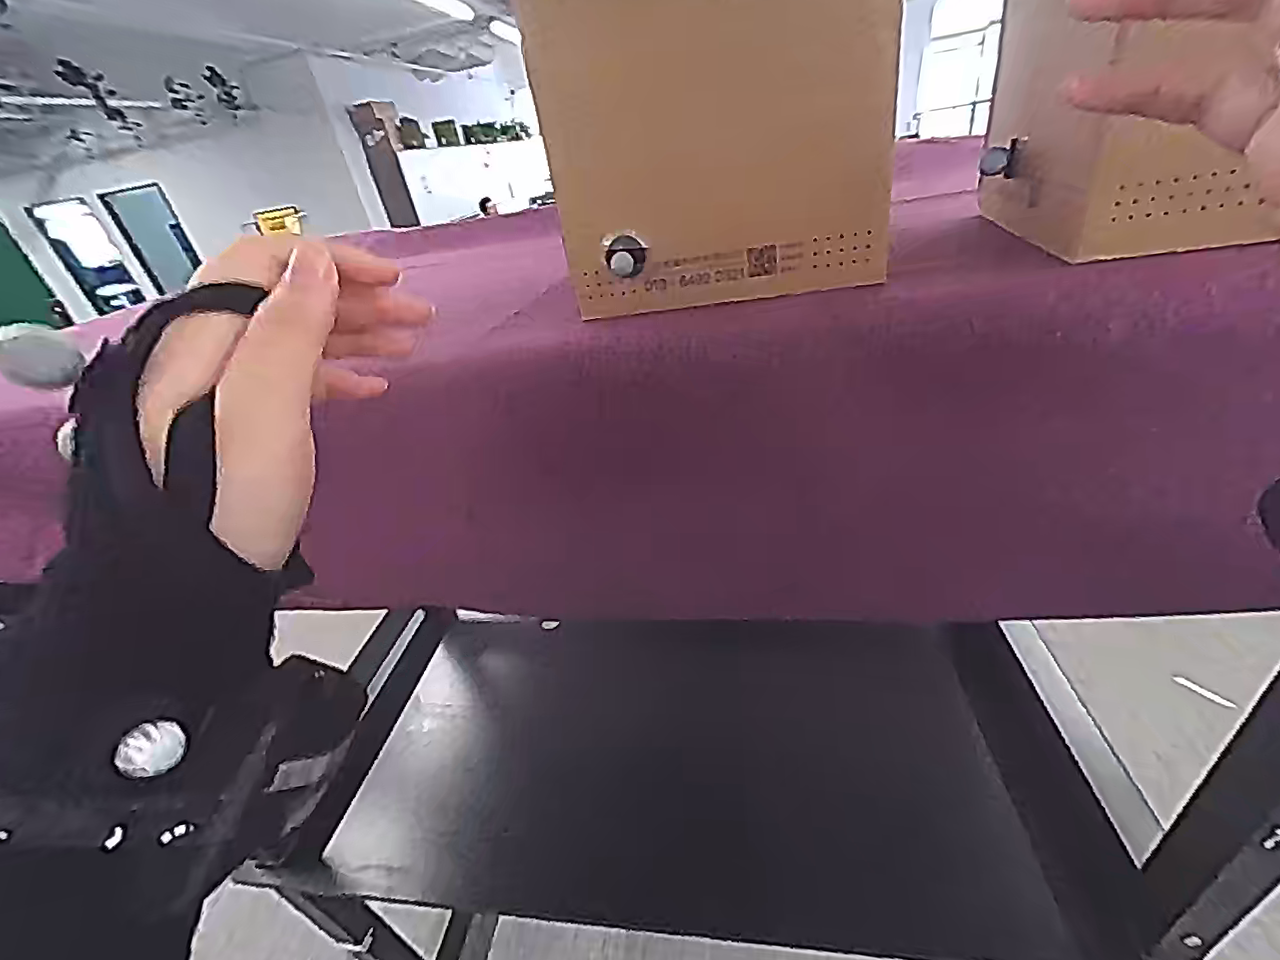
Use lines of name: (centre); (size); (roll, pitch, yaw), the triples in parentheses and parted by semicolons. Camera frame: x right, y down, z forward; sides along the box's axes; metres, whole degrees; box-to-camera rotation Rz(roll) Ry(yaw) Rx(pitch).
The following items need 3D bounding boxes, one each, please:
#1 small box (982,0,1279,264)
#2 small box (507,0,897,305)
small box: (0.287, -0.211, 0.248); (0.179, 0.176, 0.168); (-2, 32, 17)
small box: (0.045, -0.207, 0.316); (0.168, 0.176, 0.179); (-3, 31, 12)
